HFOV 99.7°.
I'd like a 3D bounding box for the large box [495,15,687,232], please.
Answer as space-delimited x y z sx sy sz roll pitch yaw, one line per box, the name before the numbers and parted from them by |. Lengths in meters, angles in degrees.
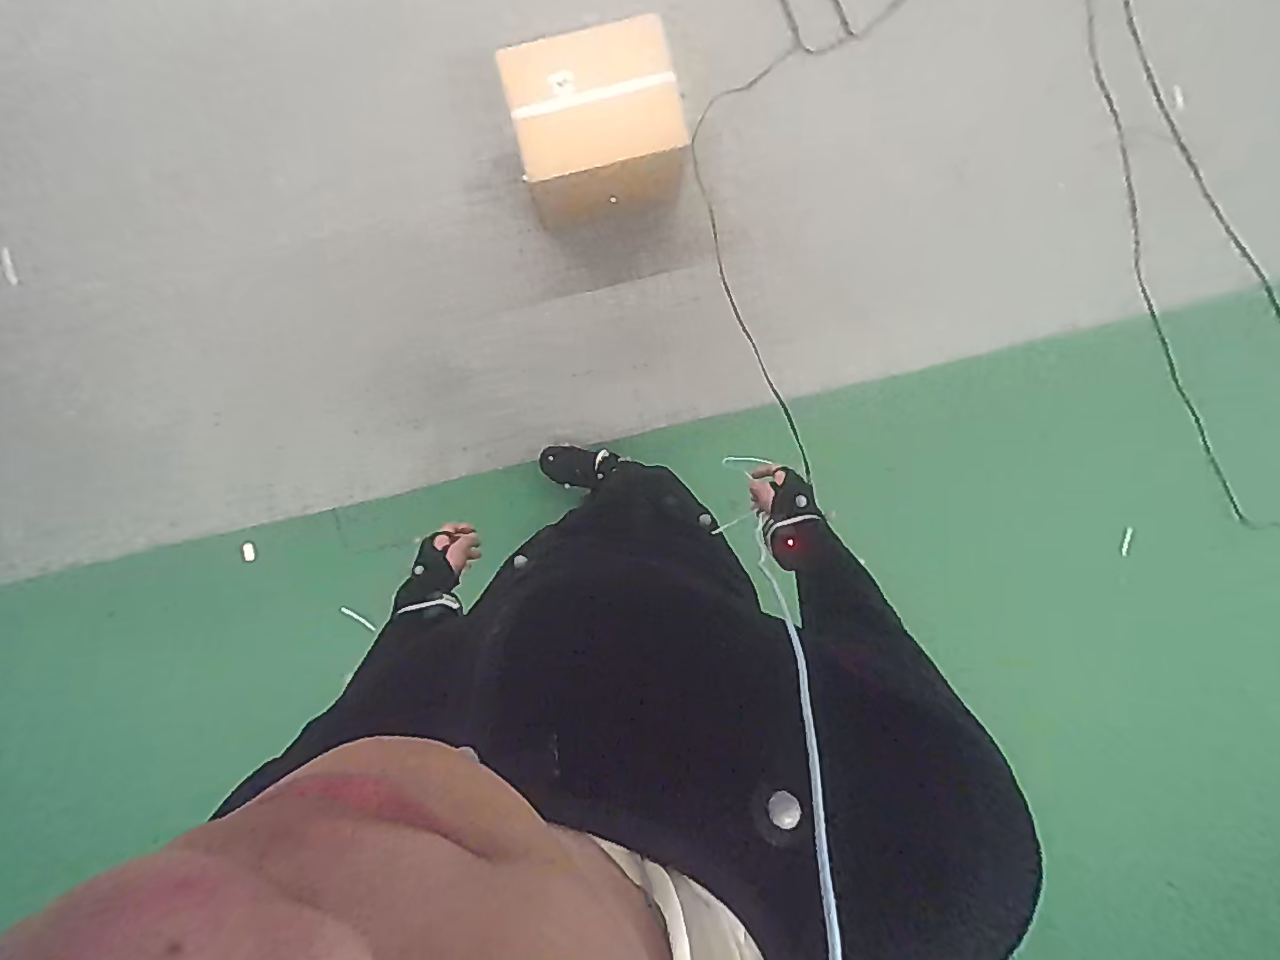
large box | -0.118 -0.918 1.444 0.408 0.320 0.320 -15 93 0
